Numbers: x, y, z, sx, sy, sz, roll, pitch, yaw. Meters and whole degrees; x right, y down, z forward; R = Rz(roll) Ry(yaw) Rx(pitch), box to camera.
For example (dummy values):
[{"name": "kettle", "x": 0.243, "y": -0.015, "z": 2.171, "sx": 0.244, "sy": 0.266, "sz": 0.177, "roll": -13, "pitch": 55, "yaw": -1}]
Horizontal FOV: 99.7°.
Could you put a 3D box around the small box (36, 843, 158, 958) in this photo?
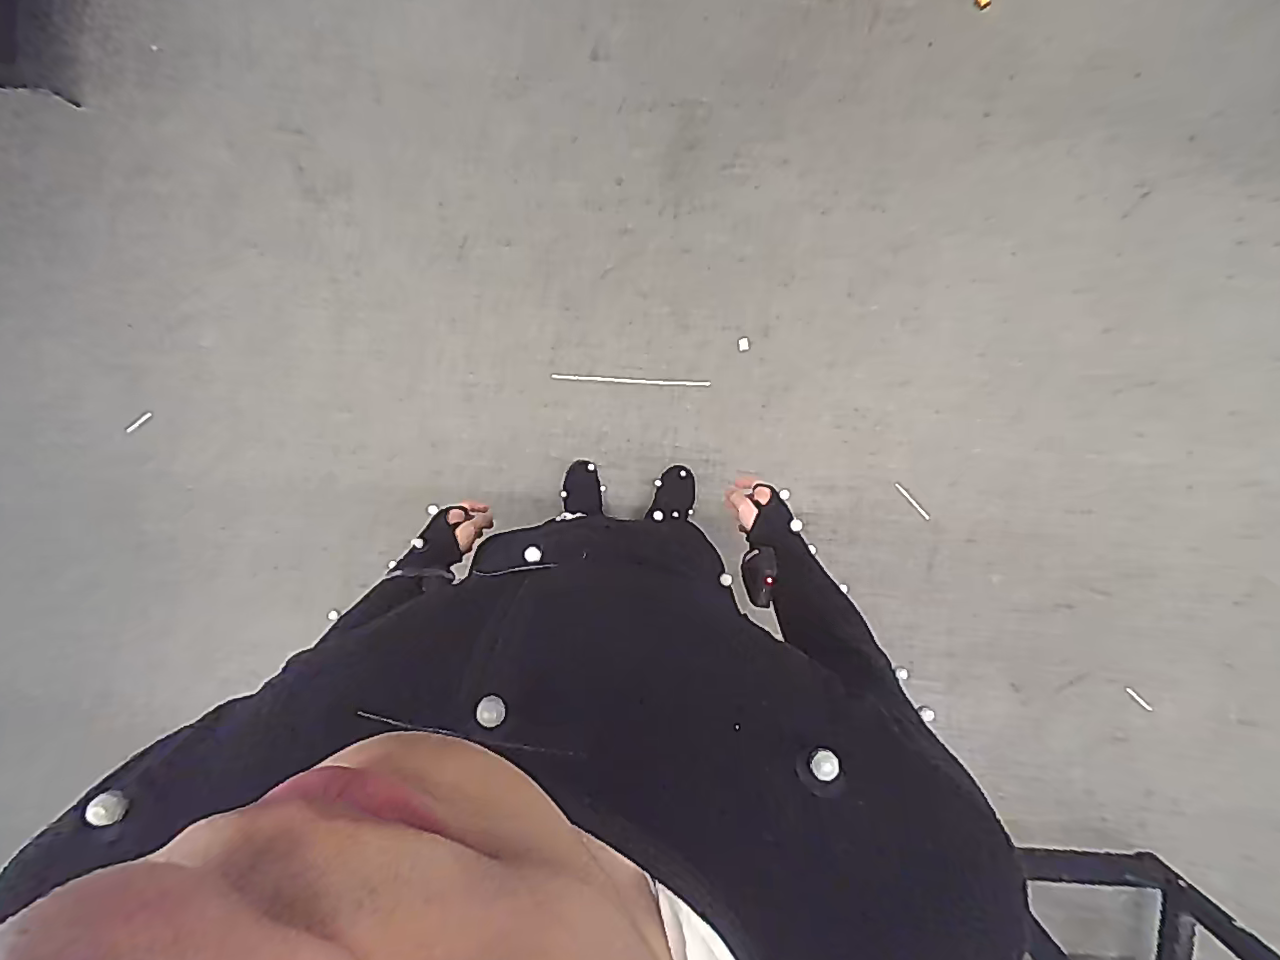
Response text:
[{"name": "small box", "x": -1.471, "y": 1.137, "z": 1.475, "sx": 0.168, "sy": 0.176, "sz": 0.179, "roll": 8, "pitch": 94, "yaw": 2}]
